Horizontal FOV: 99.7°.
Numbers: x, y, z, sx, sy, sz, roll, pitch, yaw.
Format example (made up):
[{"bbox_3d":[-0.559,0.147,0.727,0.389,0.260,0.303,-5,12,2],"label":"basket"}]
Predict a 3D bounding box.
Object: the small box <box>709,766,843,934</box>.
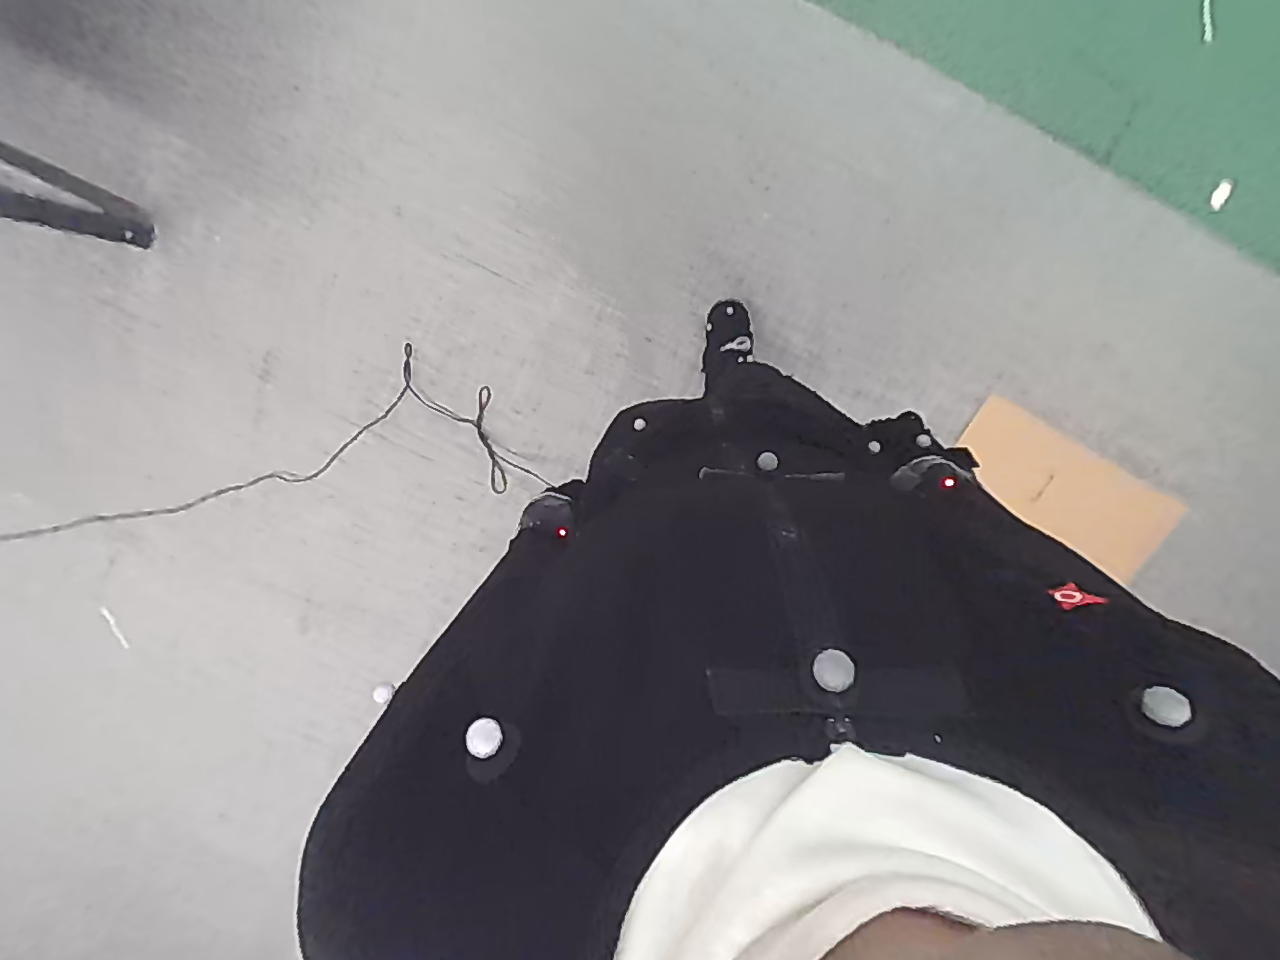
[{"bbox_3d":[0.242,0.675,1.011,0.168,0.176,0.179,-33,97,9],"label":"small box"}]
